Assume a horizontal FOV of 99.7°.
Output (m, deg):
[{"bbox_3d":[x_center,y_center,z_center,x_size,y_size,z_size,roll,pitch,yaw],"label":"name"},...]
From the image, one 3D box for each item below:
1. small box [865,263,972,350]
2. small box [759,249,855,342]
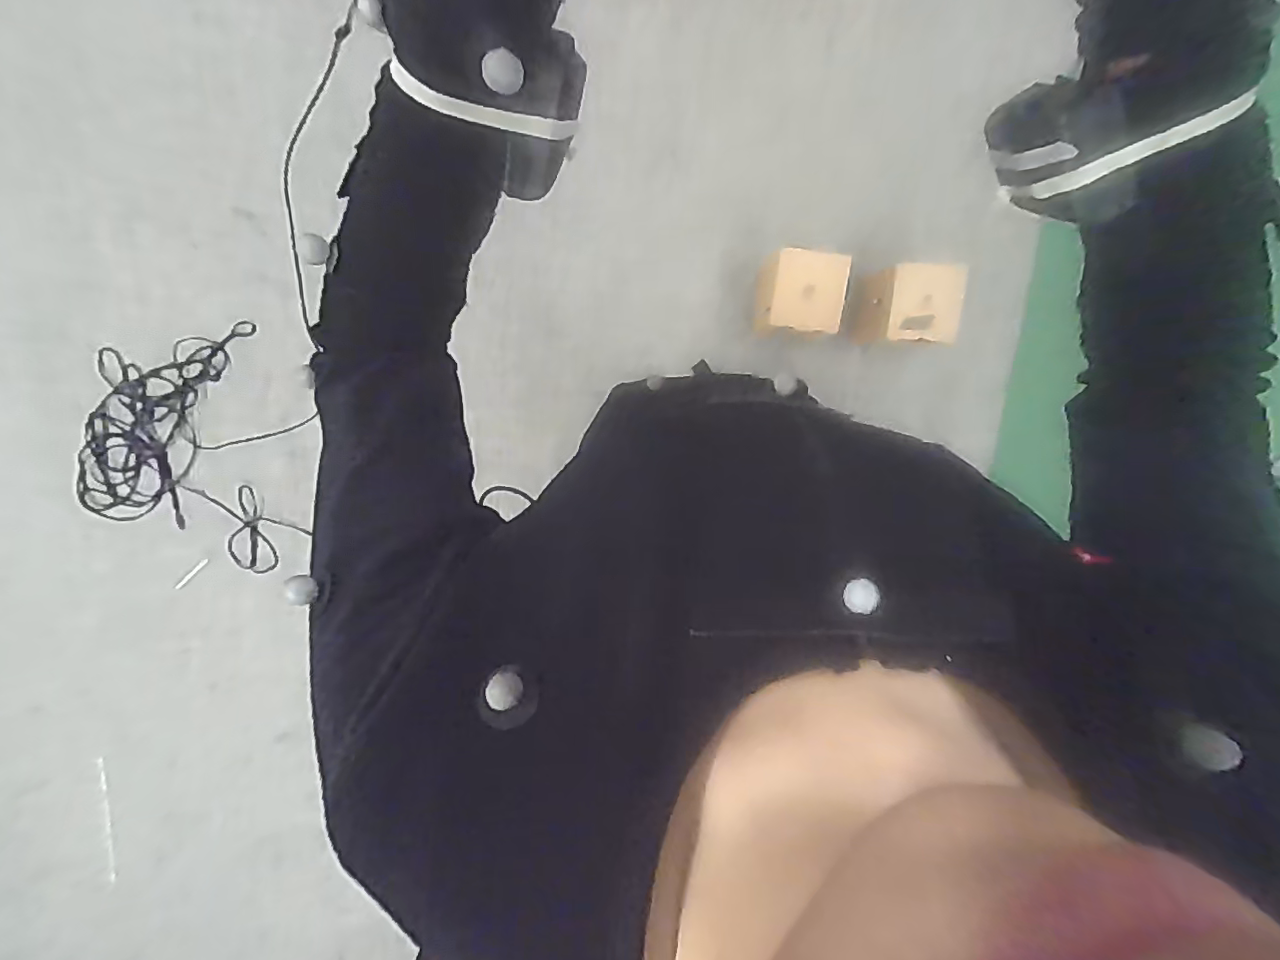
[{"bbox_3d":[0.663,-0.412,1.310,0.168,0.176,0.179,4,99,0],"label":"small box"},{"bbox_3d":[0.395,-0.440,1.311,0.168,0.176,0.179,7,100,0],"label":"small box"}]
